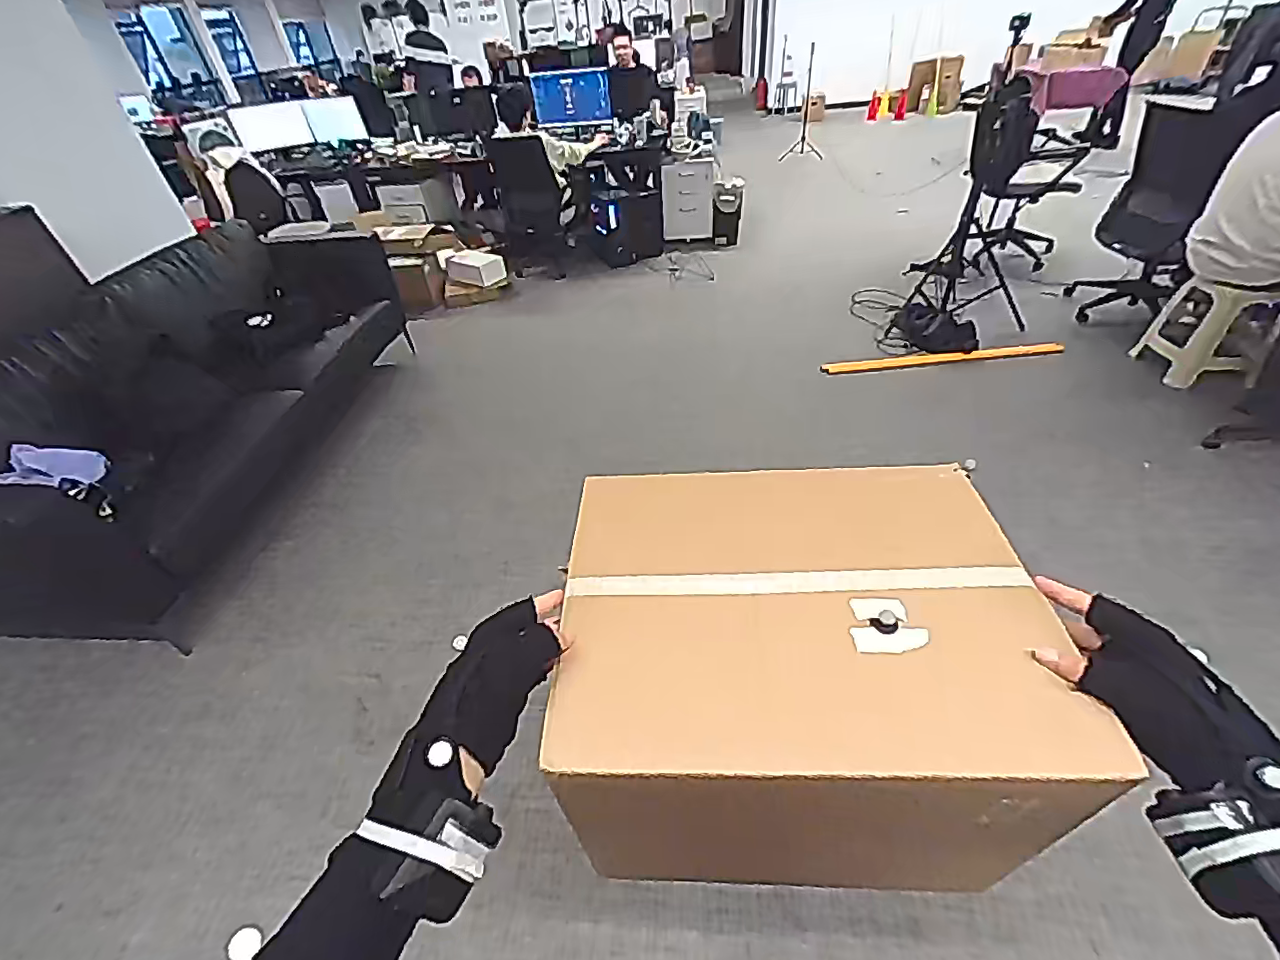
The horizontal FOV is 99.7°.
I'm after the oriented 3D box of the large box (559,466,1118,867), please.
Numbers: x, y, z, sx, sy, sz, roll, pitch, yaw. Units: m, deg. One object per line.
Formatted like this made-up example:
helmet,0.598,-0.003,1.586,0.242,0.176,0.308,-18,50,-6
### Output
large box,0.148,0.203,0.593,0.408,0.320,0.320,-1,43,4
